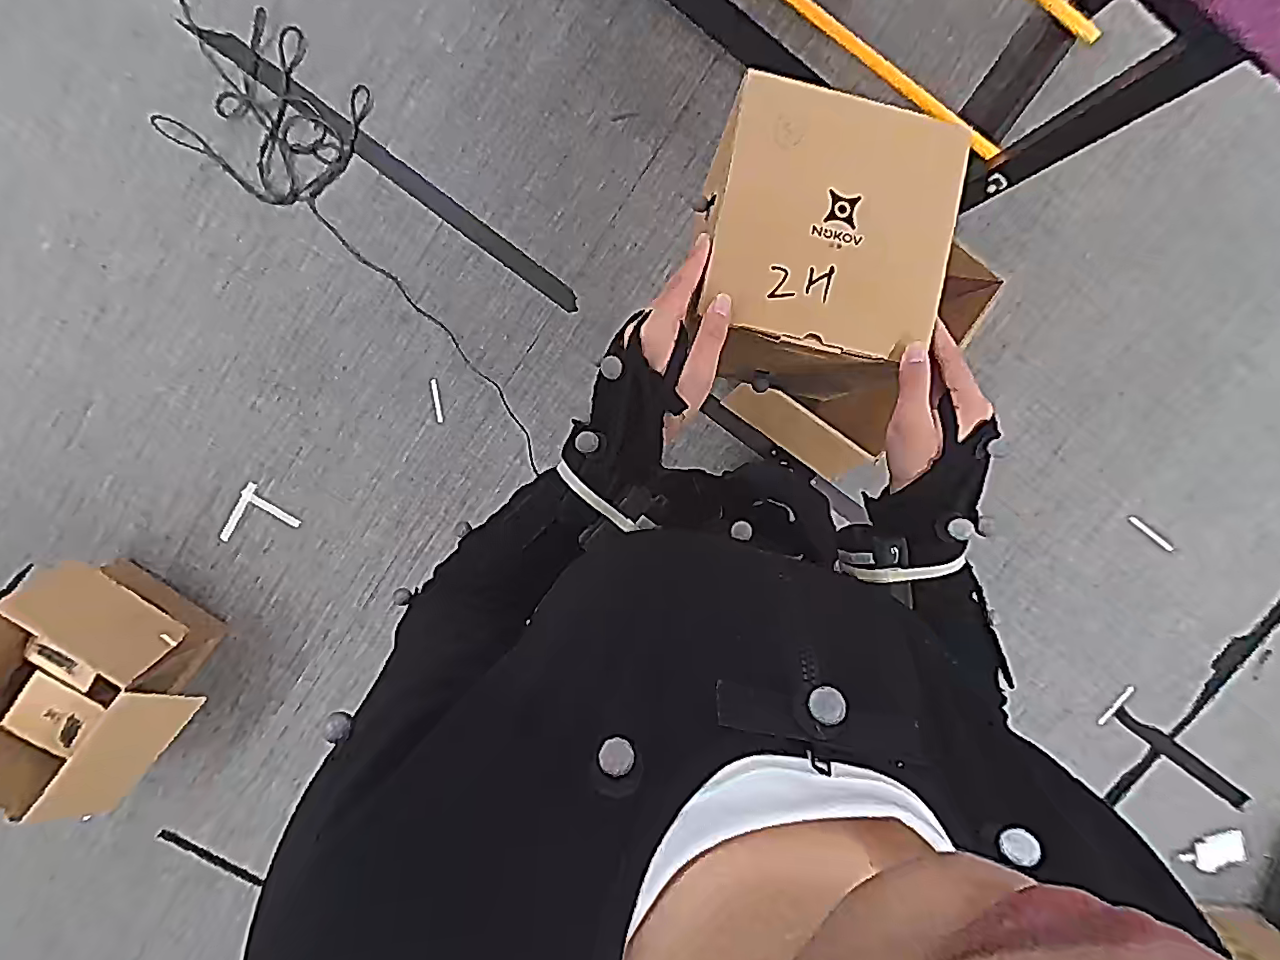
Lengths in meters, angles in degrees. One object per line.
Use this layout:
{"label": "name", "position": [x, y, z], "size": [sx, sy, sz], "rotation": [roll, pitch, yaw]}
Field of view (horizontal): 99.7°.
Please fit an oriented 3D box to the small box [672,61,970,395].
{"label": "small box", "position": [0.128, -0.182, 0.449], "size": [0.168, 0.176, 0.179], "rotation": [12, 90, -4]}
